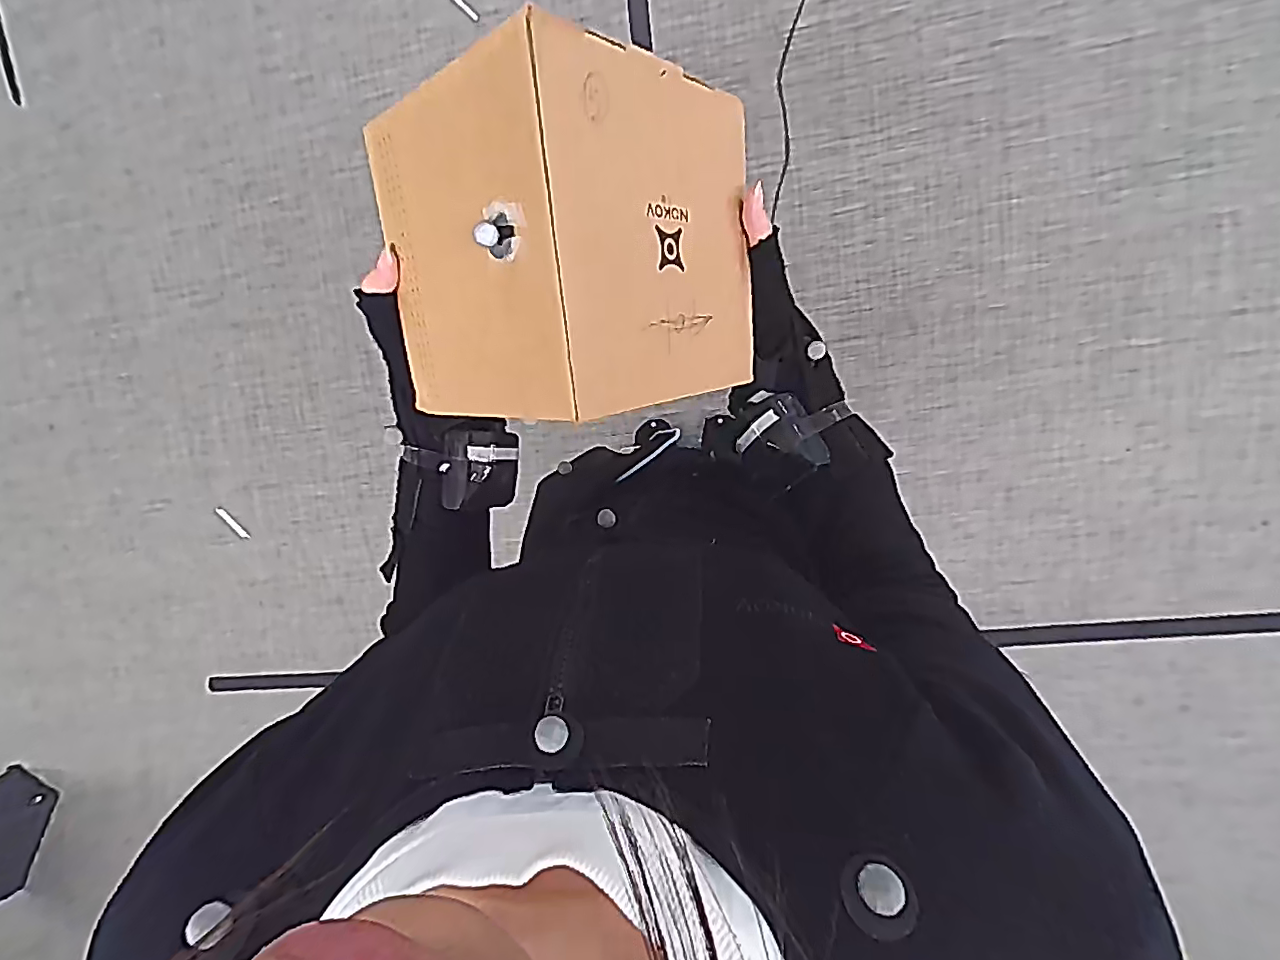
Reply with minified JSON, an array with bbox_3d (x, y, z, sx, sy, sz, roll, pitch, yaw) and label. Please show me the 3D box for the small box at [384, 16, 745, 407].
[{"bbox_3d":[-0.047,-0.145,0.363,0.176,0.168,0.179,8,110,42],"label":"small box"}]
